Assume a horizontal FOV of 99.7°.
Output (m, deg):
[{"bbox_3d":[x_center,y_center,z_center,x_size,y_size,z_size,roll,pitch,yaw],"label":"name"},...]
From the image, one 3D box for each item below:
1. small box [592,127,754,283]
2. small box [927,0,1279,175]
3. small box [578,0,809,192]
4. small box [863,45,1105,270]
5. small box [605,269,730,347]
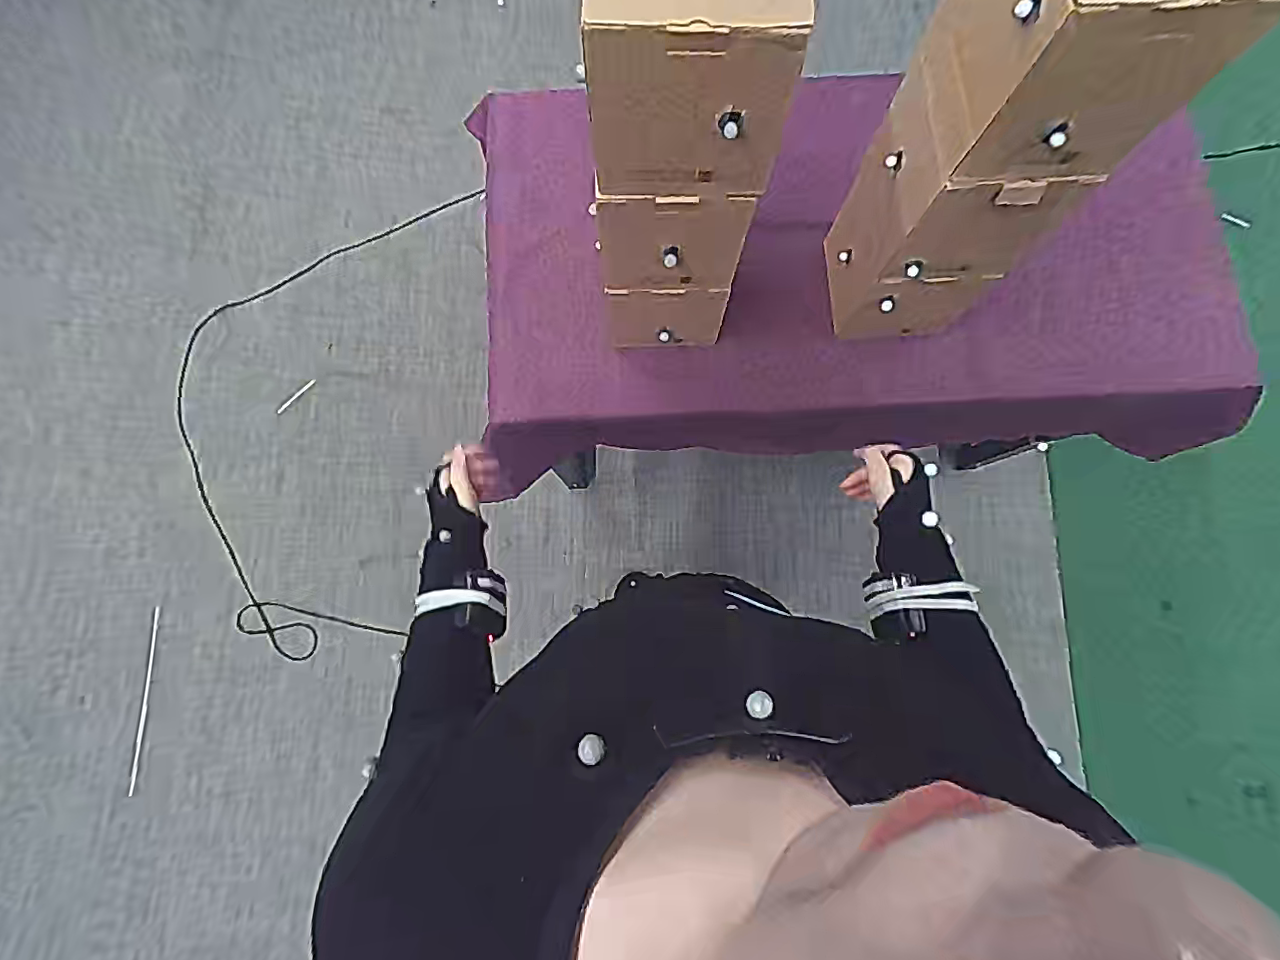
[{"bbox_3d":[0.034,-0.347,0.634,0.168,0.176,0.179,-1,79,0],"label":"small box"},{"bbox_3d":[0.380,-0.406,0.475,0.168,0.176,0.179,-4,79,0],"label":"small box"},{"bbox_3d":[0.041,-0.382,0.474,0.168,0.176,0.179,1,78,0],"label":"small box"},{"bbox_3d":[0.381,-0.365,0.634,0.168,0.176,0.179,-3,77,1],"label":"small box"},{"bbox_3d":[0.036,-0.312,0.794,0.168,0.176,0.179,-1,79,1],"label":"small box"}]
